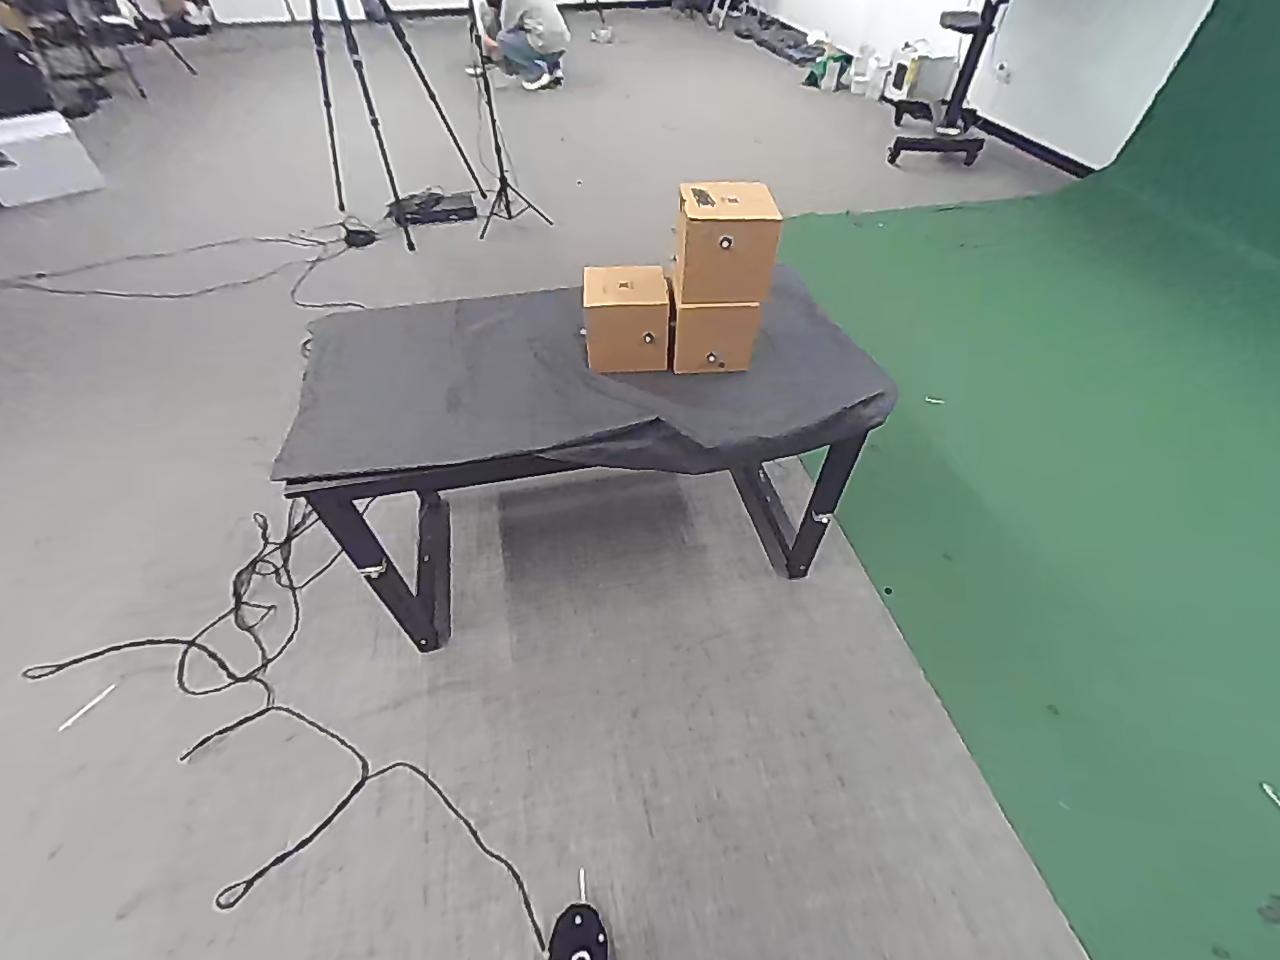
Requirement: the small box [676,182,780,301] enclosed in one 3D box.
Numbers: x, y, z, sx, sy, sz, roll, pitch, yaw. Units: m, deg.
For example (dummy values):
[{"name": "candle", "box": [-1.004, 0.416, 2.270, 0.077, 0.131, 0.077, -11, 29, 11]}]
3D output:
[{"name": "small box", "box": [0.164, -0.472, 1.079, 0.179, 0.176, 0.168, -2, 50, -2]}]
